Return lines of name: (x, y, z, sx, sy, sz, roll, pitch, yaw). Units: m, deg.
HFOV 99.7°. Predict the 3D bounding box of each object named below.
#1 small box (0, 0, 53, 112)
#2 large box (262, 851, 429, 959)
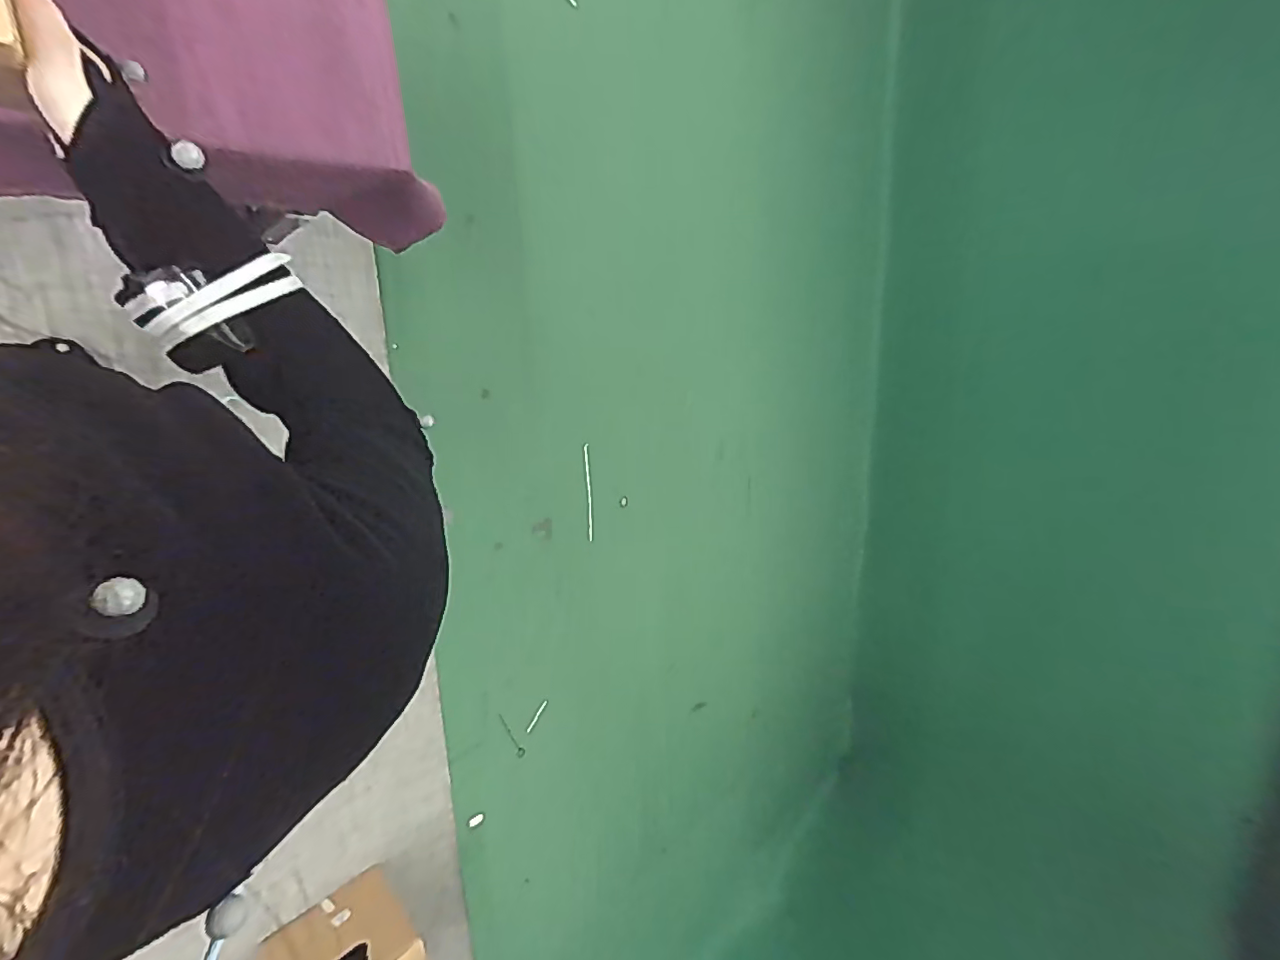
small box: (-0.412, -0.299, 0.248, 0.168, 0.176, 0.179, -13, 114, -41)
large box: (-0.799, 1.375, 1.510, 0.320, 0.320, 0.408, -17, 112, -42)
